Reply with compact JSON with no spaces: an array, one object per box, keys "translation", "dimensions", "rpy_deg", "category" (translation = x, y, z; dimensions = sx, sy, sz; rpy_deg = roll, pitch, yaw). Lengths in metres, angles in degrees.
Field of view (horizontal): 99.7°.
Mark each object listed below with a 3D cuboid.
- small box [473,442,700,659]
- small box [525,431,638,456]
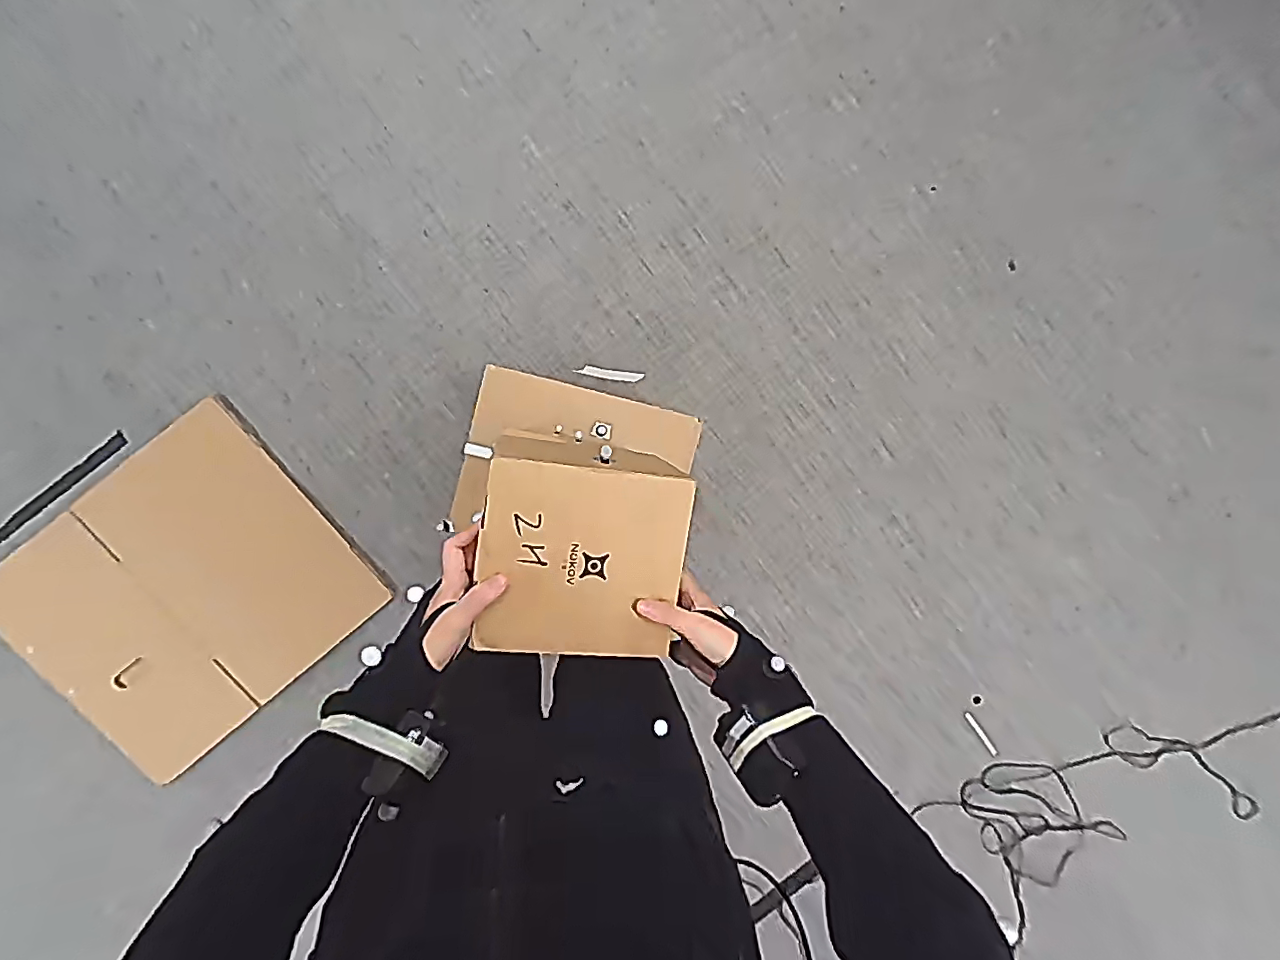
[{"translation":[-0.060,0.058,0.533],"dimensions":[0.179,0.176,0.168],"rpy_deg":[7,98,-13],"category":"small box"},{"translation":[-0.109,0.018,0.903],"dimensions":[0.179,0.176,0.168],"rpy_deg":[11,93,-6],"category":"small box"}]
